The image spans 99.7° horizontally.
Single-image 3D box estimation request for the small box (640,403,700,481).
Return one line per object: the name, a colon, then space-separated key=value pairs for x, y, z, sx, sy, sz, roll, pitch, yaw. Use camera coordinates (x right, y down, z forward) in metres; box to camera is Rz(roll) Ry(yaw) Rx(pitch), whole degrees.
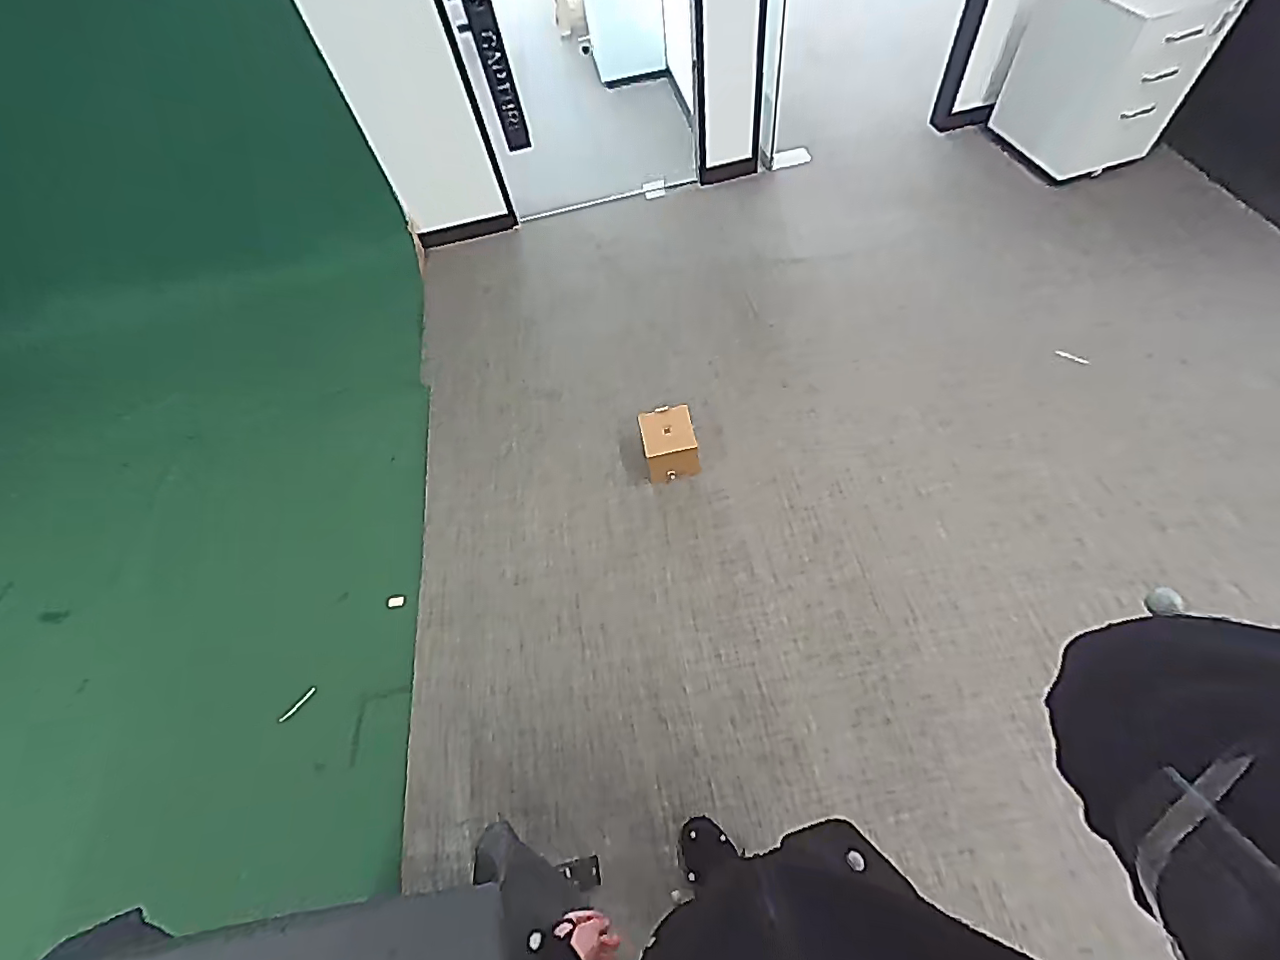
small box: x=0.099 y=-0.121 z=1.766 sx=0.168 sy=0.176 sz=0.179 roll=-11 pitch=58 yaw=4
